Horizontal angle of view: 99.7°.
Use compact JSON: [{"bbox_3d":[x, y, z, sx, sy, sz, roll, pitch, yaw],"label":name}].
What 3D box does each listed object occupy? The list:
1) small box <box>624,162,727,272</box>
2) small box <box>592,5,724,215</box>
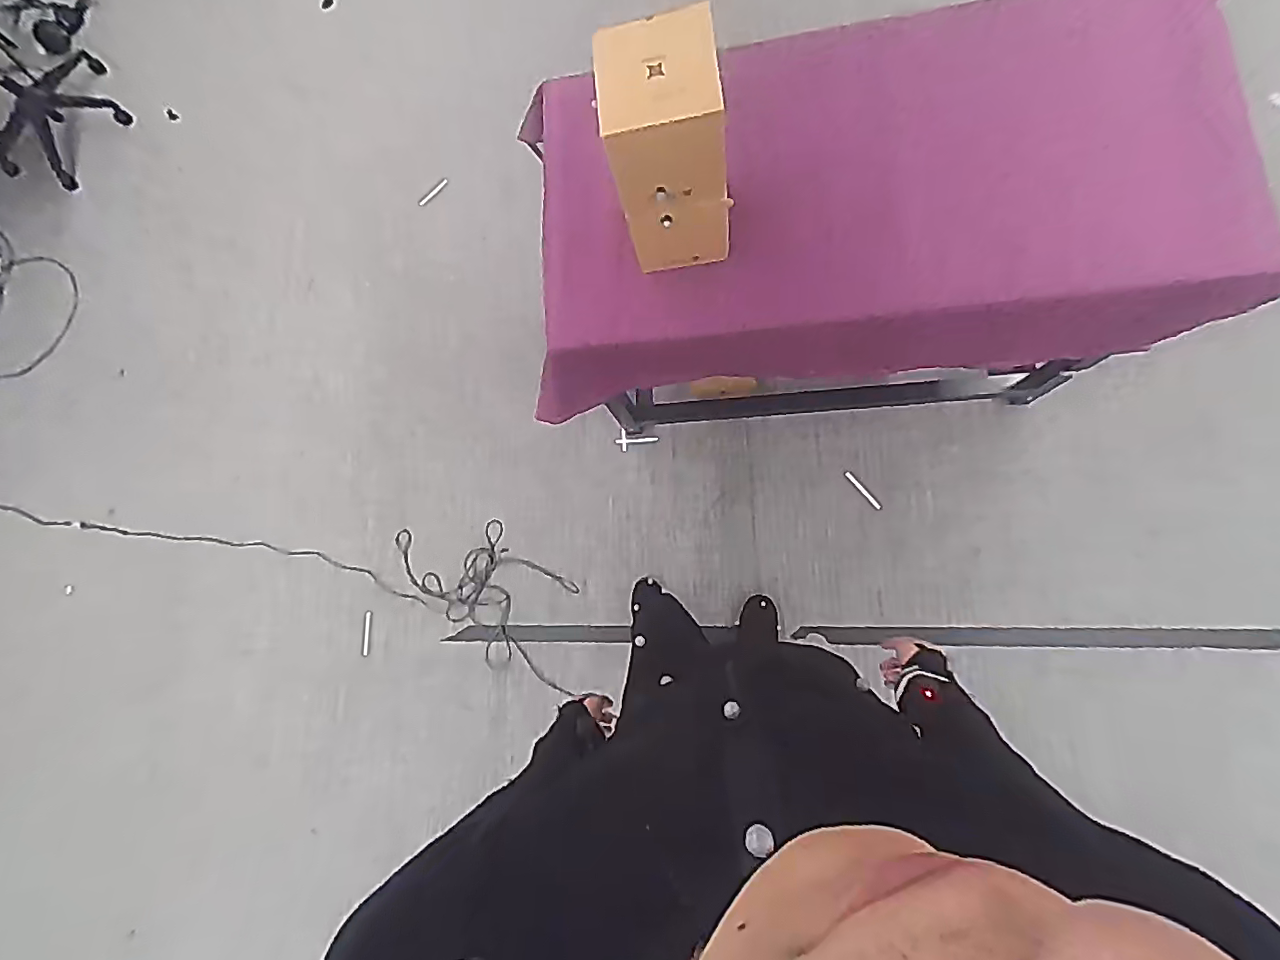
[{"bbox_3d":[0.064,-0.499,0.953,0.168,0.176,0.179,-5,79,9],"label":"small box"},{"bbox_3d":[0.032,-0.530,0.795,0.168,0.176,0.179,-7,79,8],"label":"small box"}]
